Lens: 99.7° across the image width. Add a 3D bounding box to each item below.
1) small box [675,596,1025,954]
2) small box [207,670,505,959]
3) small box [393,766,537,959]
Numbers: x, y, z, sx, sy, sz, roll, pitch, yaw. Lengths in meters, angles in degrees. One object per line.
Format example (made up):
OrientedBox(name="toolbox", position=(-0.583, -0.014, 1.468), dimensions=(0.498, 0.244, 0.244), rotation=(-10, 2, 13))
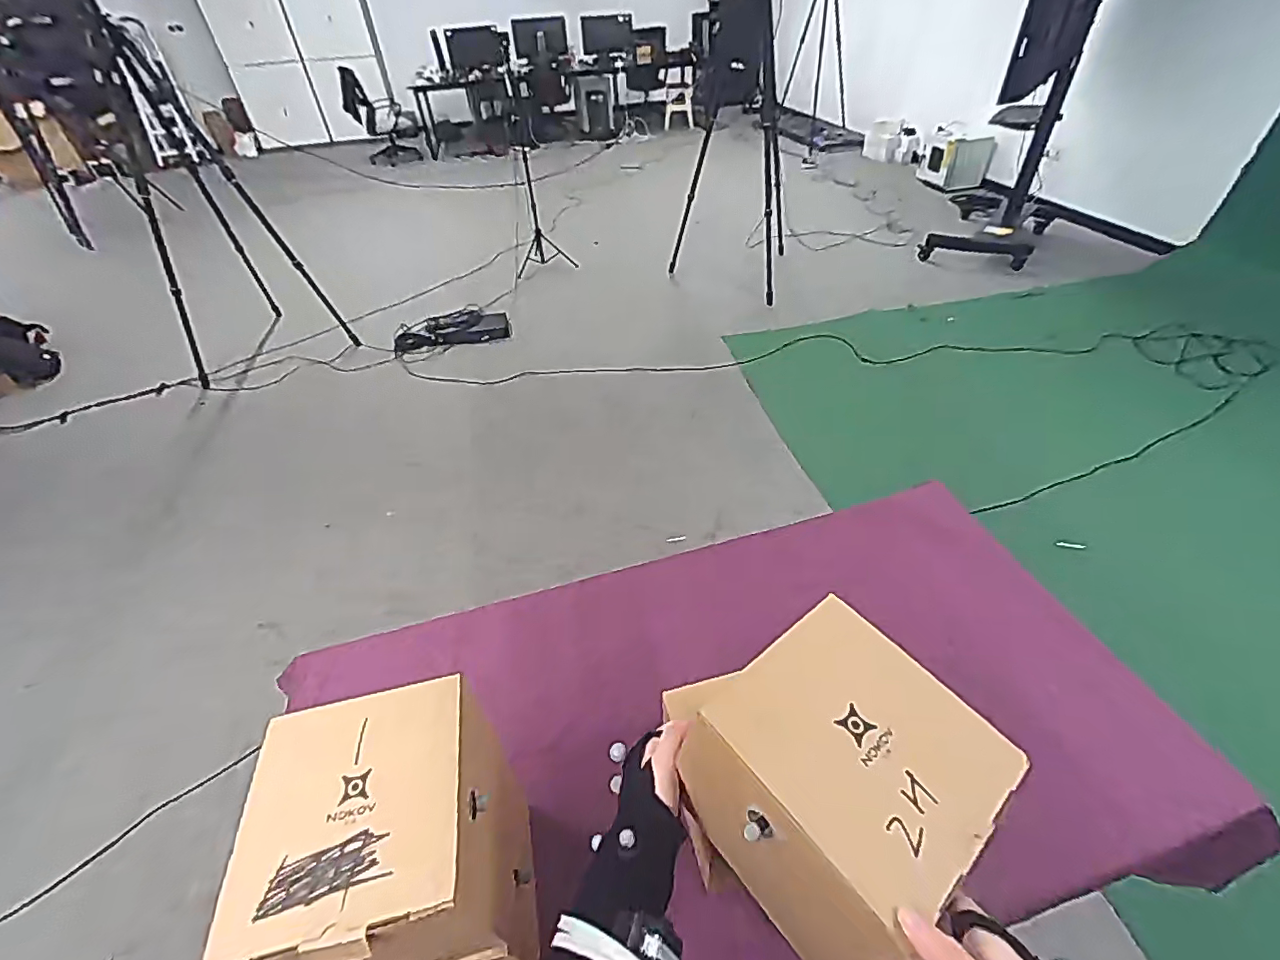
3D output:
OrientedBox(name="small box", position=(0.148, 0.237, 0.441), dimensions=(0.168, 0.176, 0.179), rotation=(-27, 56, -29))
OrientedBox(name="small box", position=(-0.218, 0.302, 0.476), dimensions=(0.168, 0.176, 0.179), rotation=(-10, 43, -7))
OrientedBox(name="small box", position=(-0.211, 0.427, 0.584), dimensions=(0.168, 0.176, 0.179), rotation=(-11, 44, -8))
